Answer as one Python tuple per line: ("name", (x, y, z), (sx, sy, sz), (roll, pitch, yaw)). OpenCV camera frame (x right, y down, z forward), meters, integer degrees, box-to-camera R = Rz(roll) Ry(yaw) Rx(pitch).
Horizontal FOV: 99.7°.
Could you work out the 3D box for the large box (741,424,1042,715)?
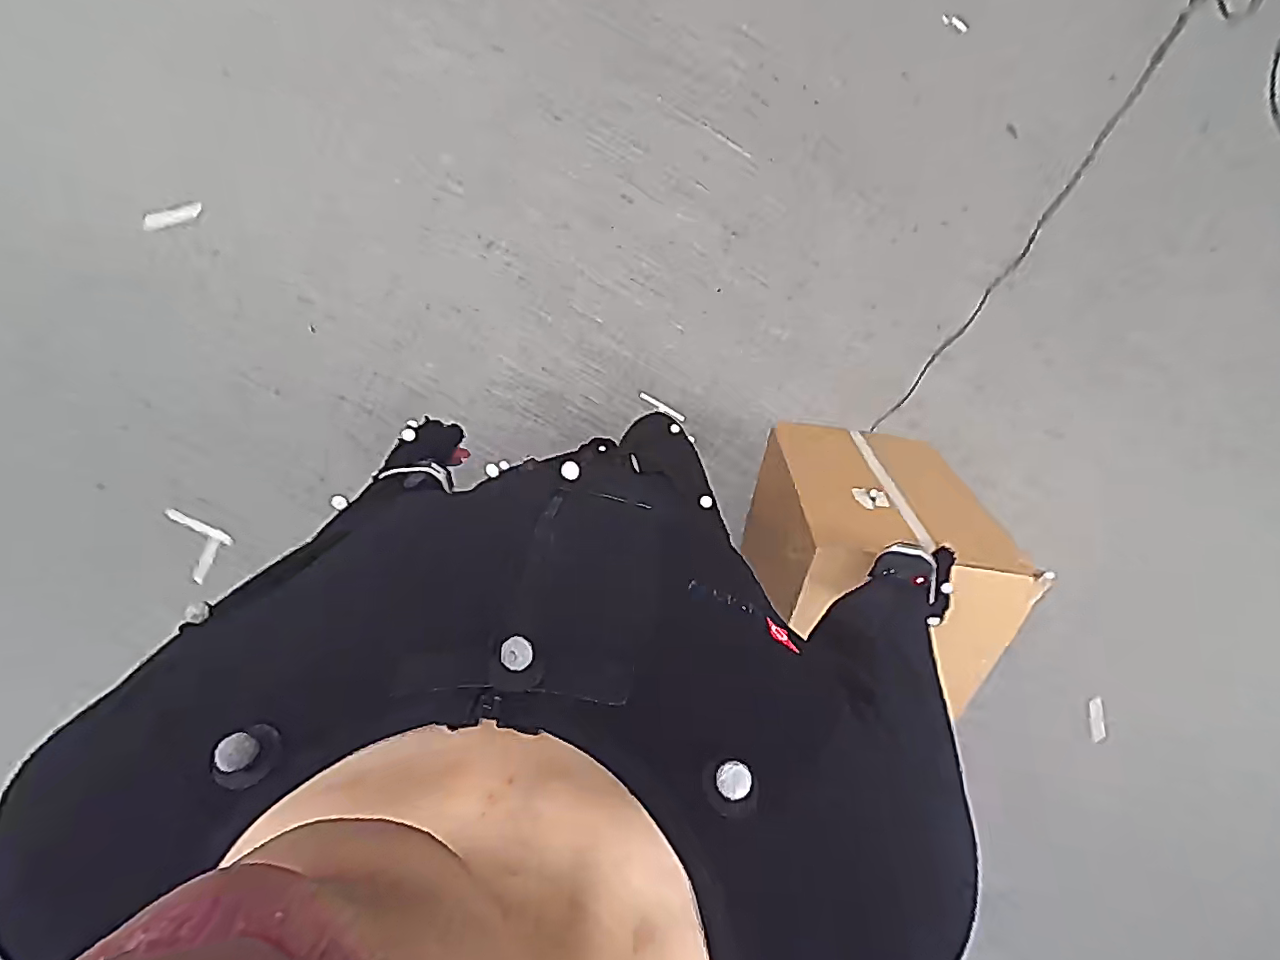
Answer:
("large box", (0.384, 0.139, 0.971), (0.320, 0.408, 0.320), (7, 122, 0))
